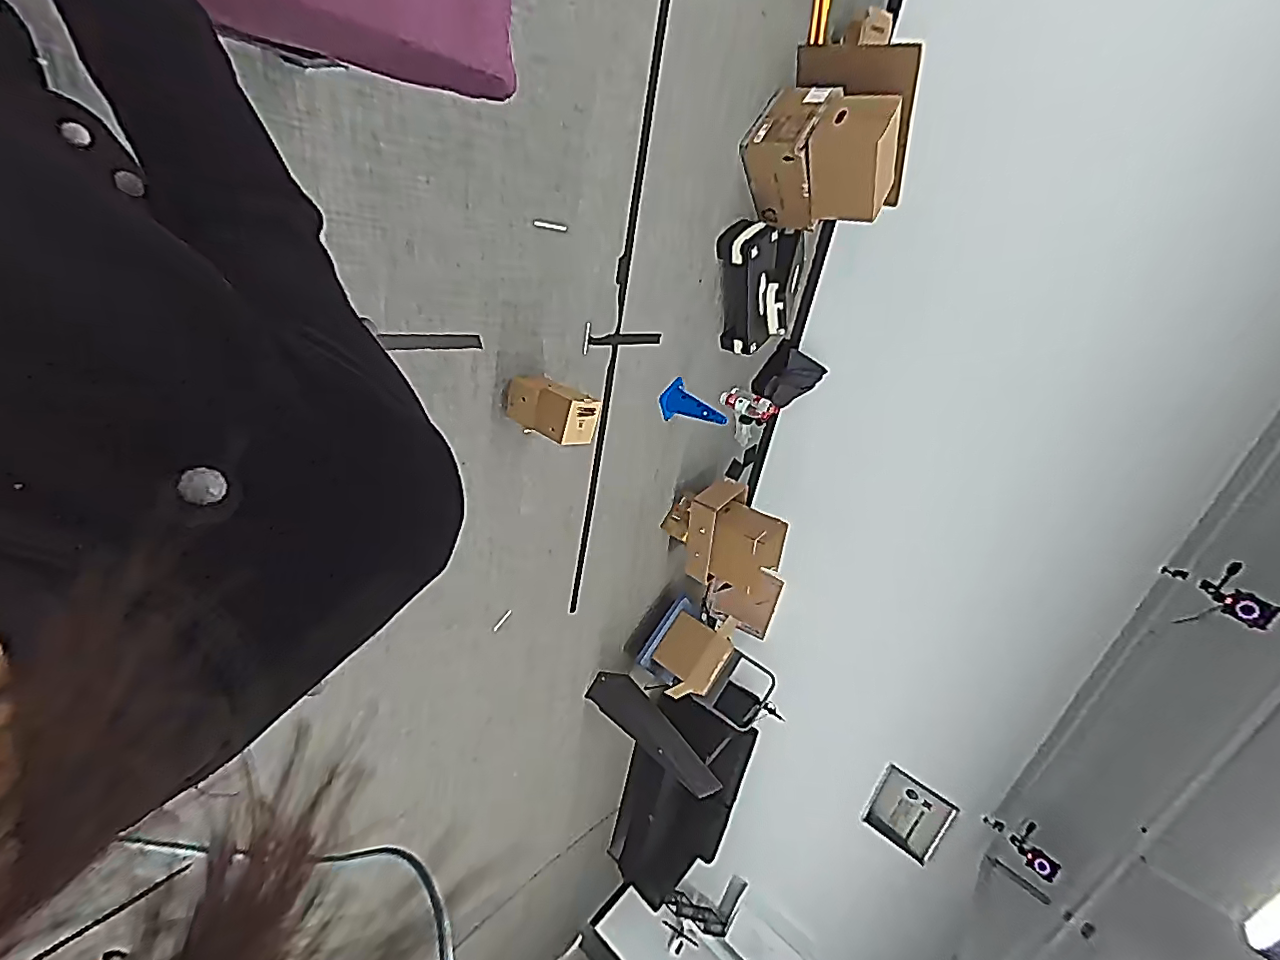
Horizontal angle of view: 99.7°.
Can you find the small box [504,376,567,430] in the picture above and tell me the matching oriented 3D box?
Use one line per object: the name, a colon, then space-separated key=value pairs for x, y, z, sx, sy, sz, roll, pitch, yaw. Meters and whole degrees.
small box: x=-0.419 y=-0.309 z=2.147 sx=0.179 sy=0.176 sz=0.168 roll=-15 pitch=126 yaw=-51
